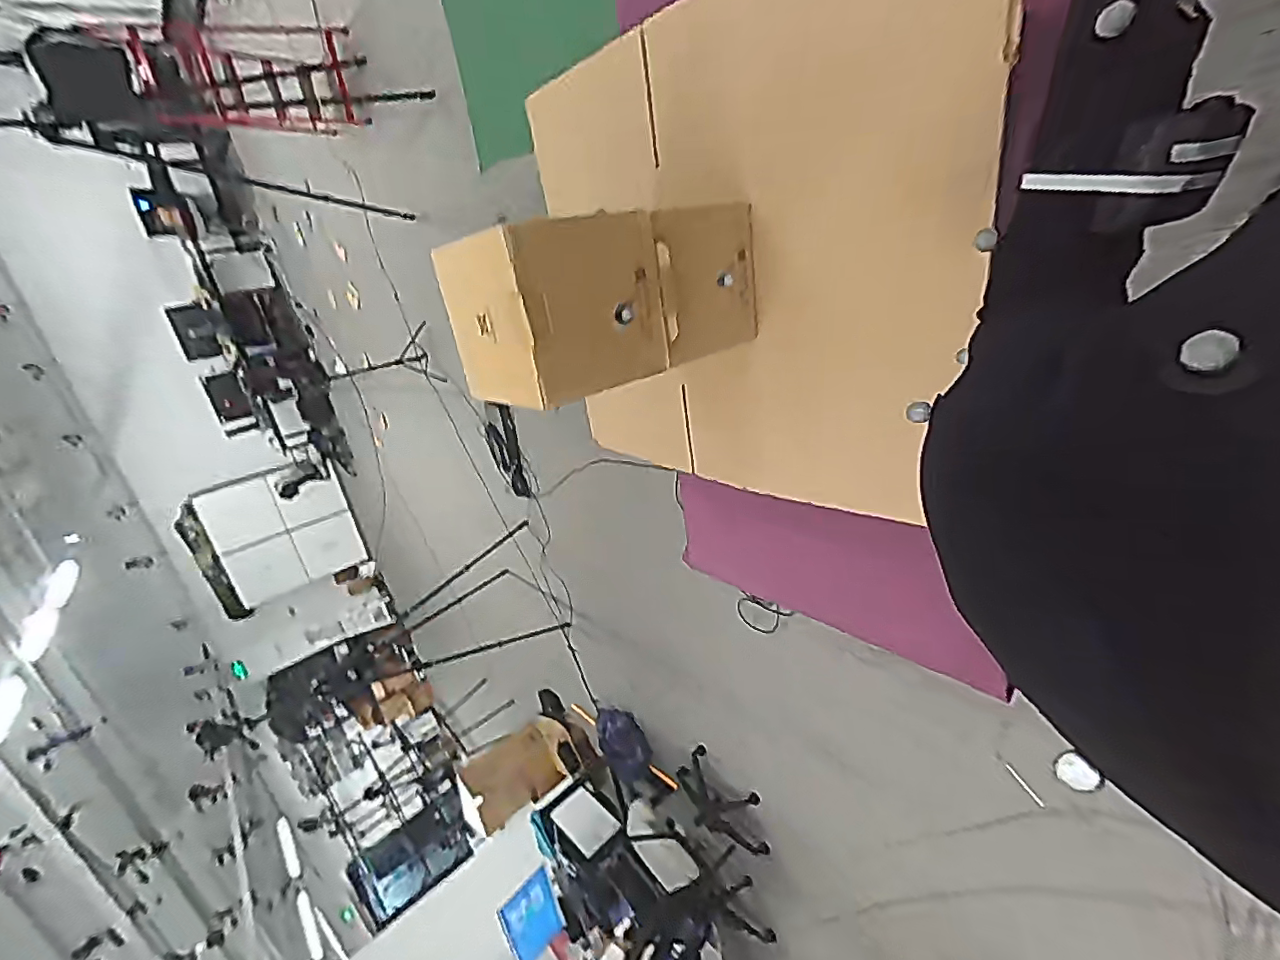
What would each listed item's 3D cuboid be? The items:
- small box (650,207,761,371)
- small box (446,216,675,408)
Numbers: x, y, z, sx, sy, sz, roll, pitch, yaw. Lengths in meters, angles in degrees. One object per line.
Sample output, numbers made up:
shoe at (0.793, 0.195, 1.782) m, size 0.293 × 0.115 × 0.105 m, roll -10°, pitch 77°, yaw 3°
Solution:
small box at (0.033, -0.247, 0.698) m, size 0.179 × 0.176 × 0.168 m, roll 18°, pitch 125°, yaw 47°
small box at (-0.085, -0.187, 0.602) m, size 0.179 × 0.176 × 0.168 m, roll 15°, pitch 122°, yaw 48°
